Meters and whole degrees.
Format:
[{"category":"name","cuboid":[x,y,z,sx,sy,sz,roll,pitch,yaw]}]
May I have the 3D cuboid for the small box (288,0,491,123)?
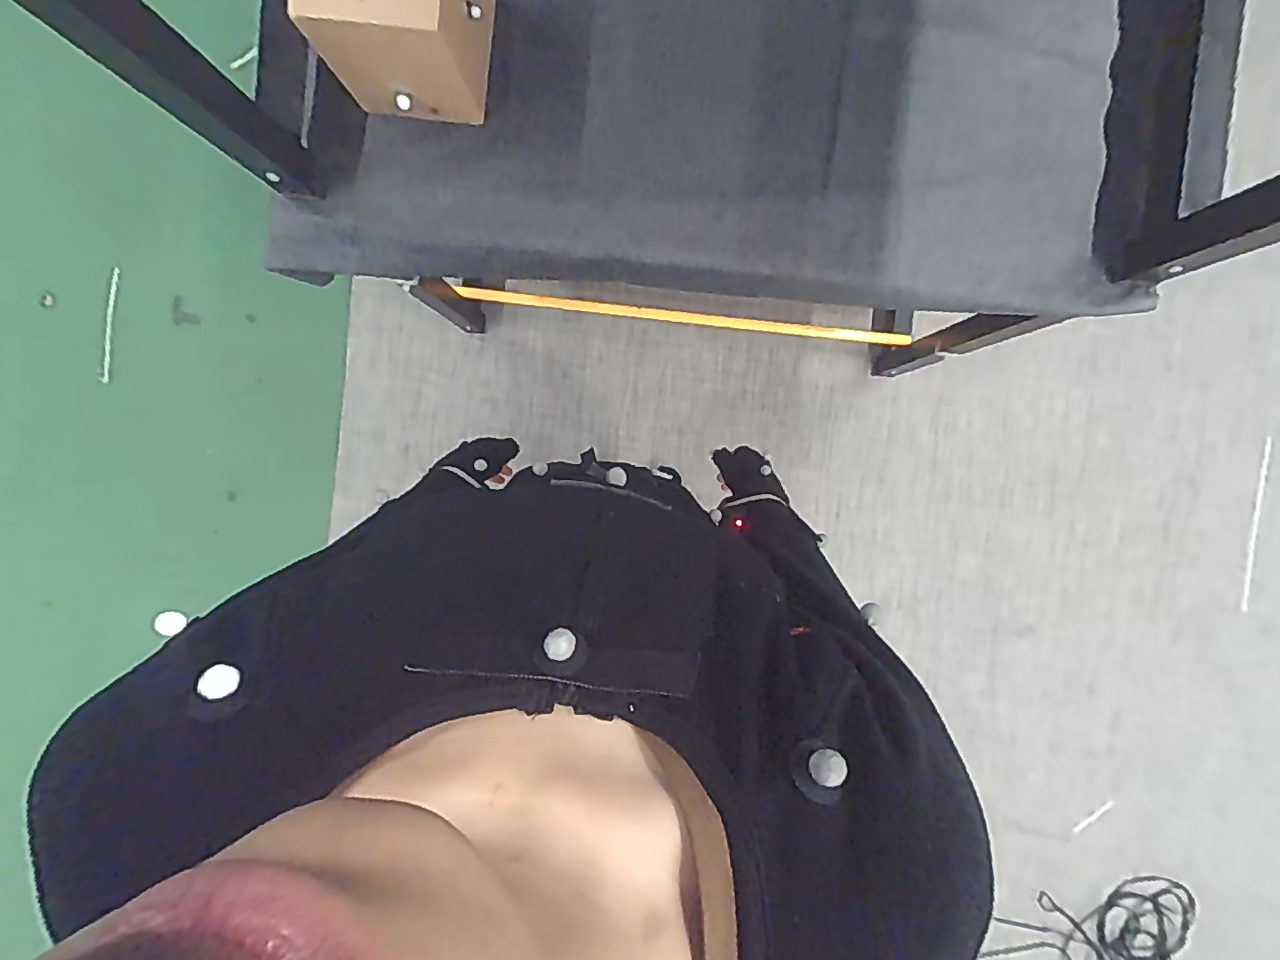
[{"category":"small box","cuboid":[-0.287,-0.581,0.656,0.168,0.176,0.179,6,93,0]}]
